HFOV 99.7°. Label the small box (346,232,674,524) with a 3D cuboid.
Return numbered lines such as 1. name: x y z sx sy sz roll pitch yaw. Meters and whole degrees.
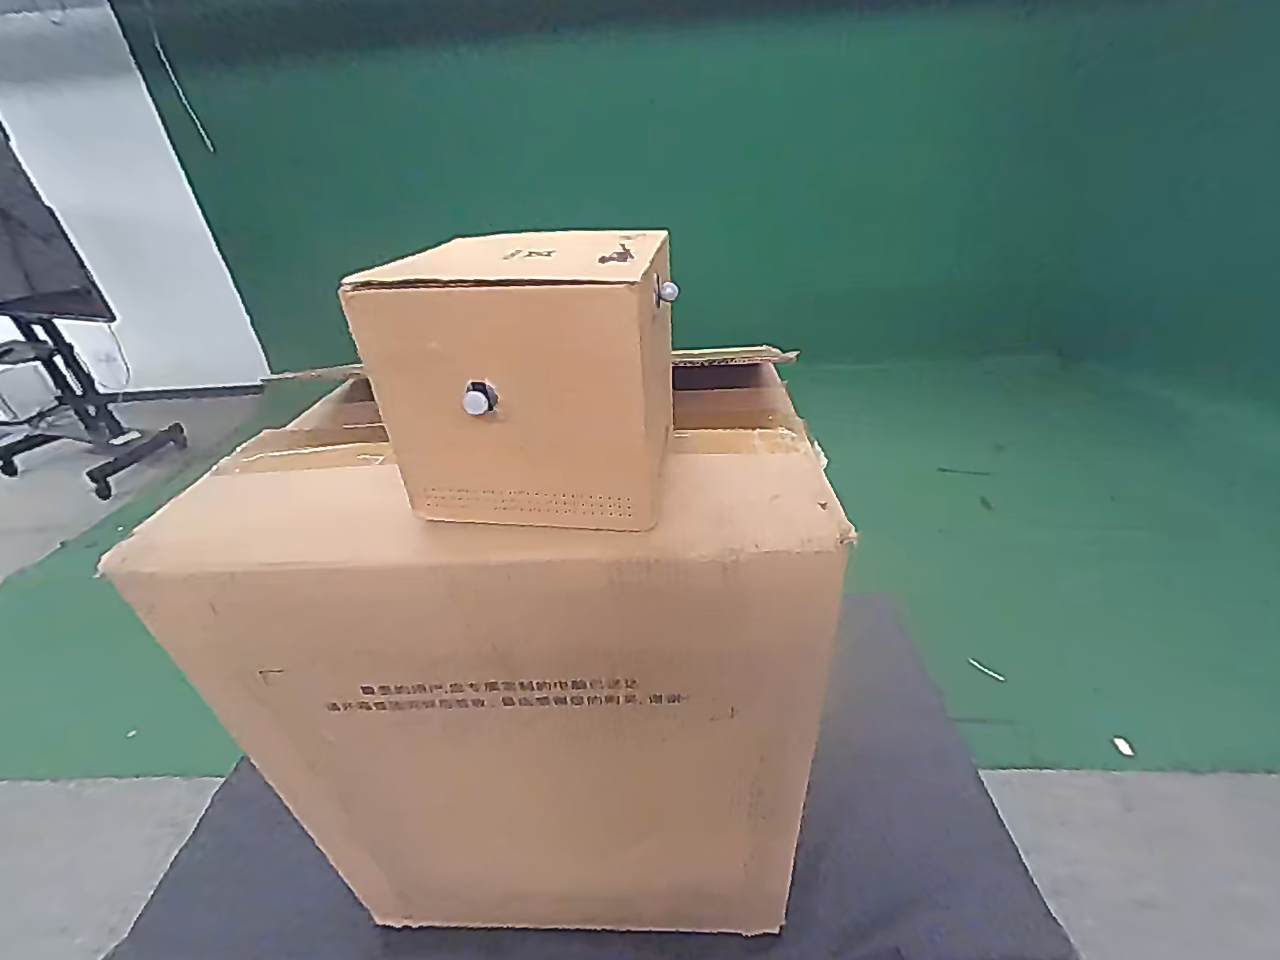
1. small box: -0.071 -0.081 0.408 0.179 0.176 0.168 2 34 9
